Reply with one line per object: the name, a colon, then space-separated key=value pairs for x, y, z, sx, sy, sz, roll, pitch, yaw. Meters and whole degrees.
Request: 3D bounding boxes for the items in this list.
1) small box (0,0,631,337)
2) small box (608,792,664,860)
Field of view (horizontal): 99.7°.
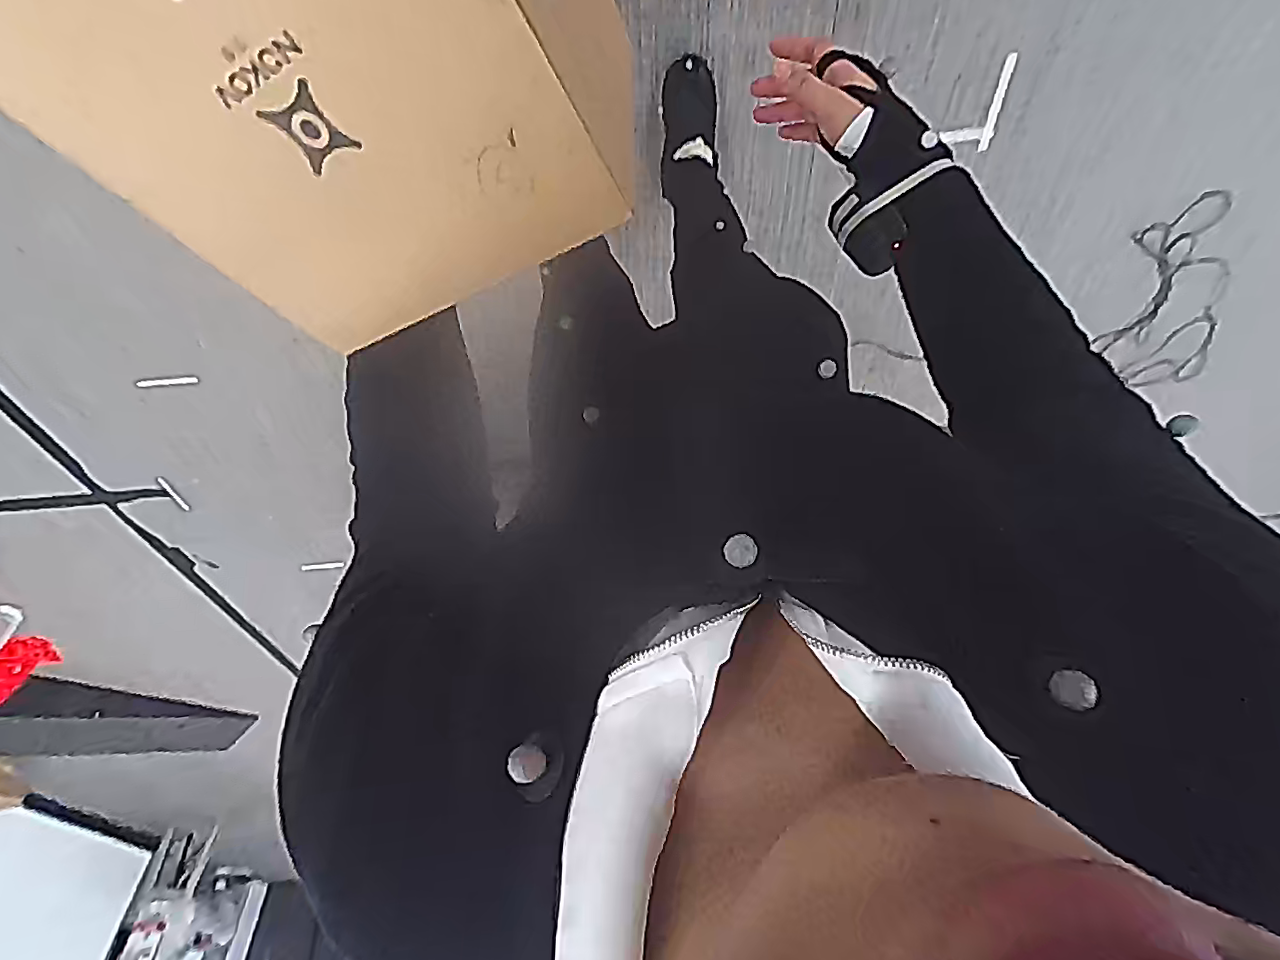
small box: x=-0.113 y=-0.202 z=0.231 sx=0.168 sy=0.176 sz=0.179 roll=-17 pitch=145 yaw=21
small box: x=-0.016 y=1.211 z=1.896 sx=0.179 sy=0.176 sz=0.168 roll=-4 pitch=135 yaw=-3
